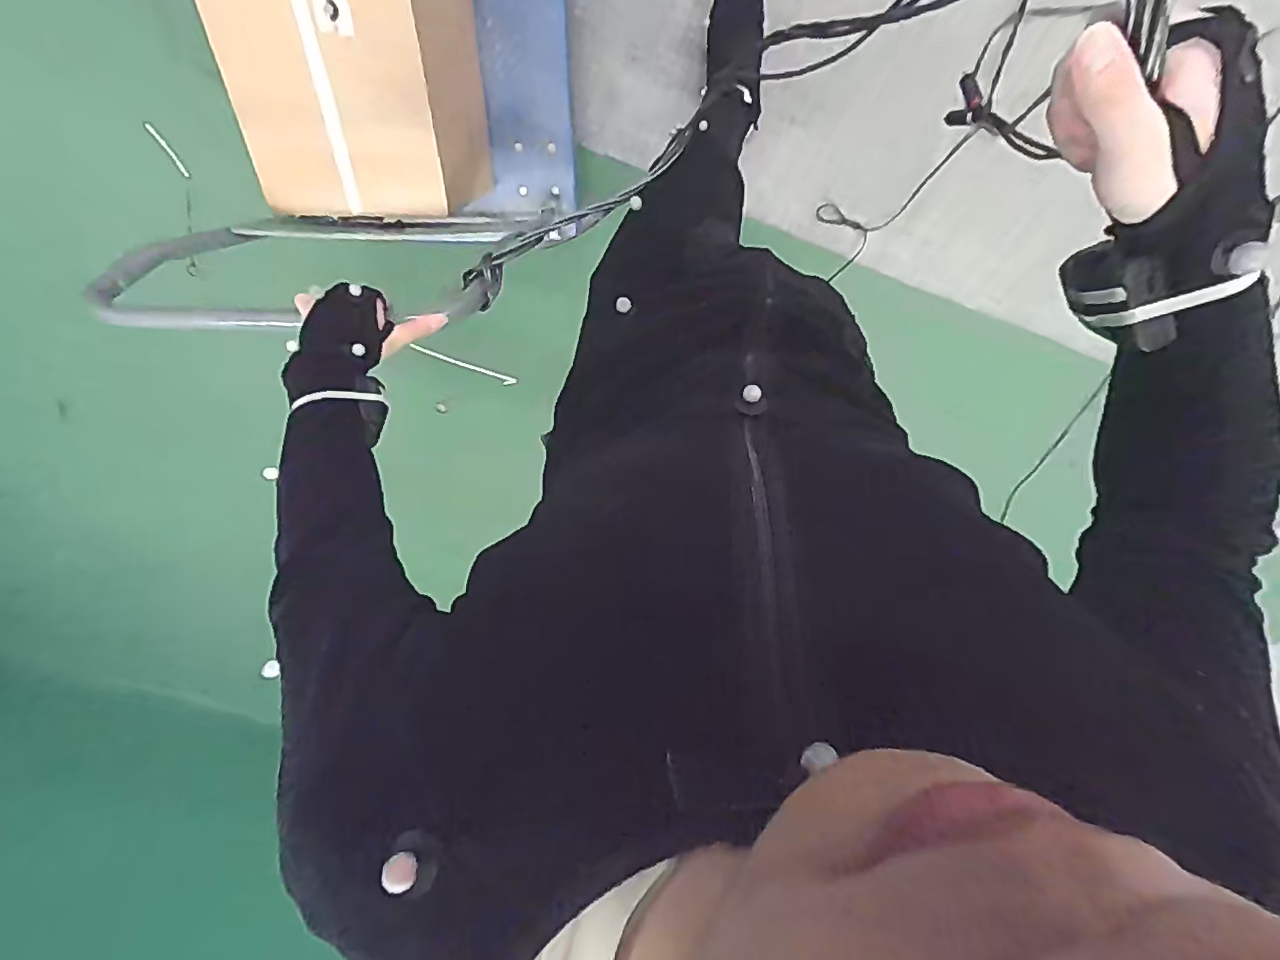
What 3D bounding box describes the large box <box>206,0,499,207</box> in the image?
[{"bbox_3d":[-0.458,-0.711,0.925,0.320,0.320,0.408,2,126,2],"label":"large box"}]
